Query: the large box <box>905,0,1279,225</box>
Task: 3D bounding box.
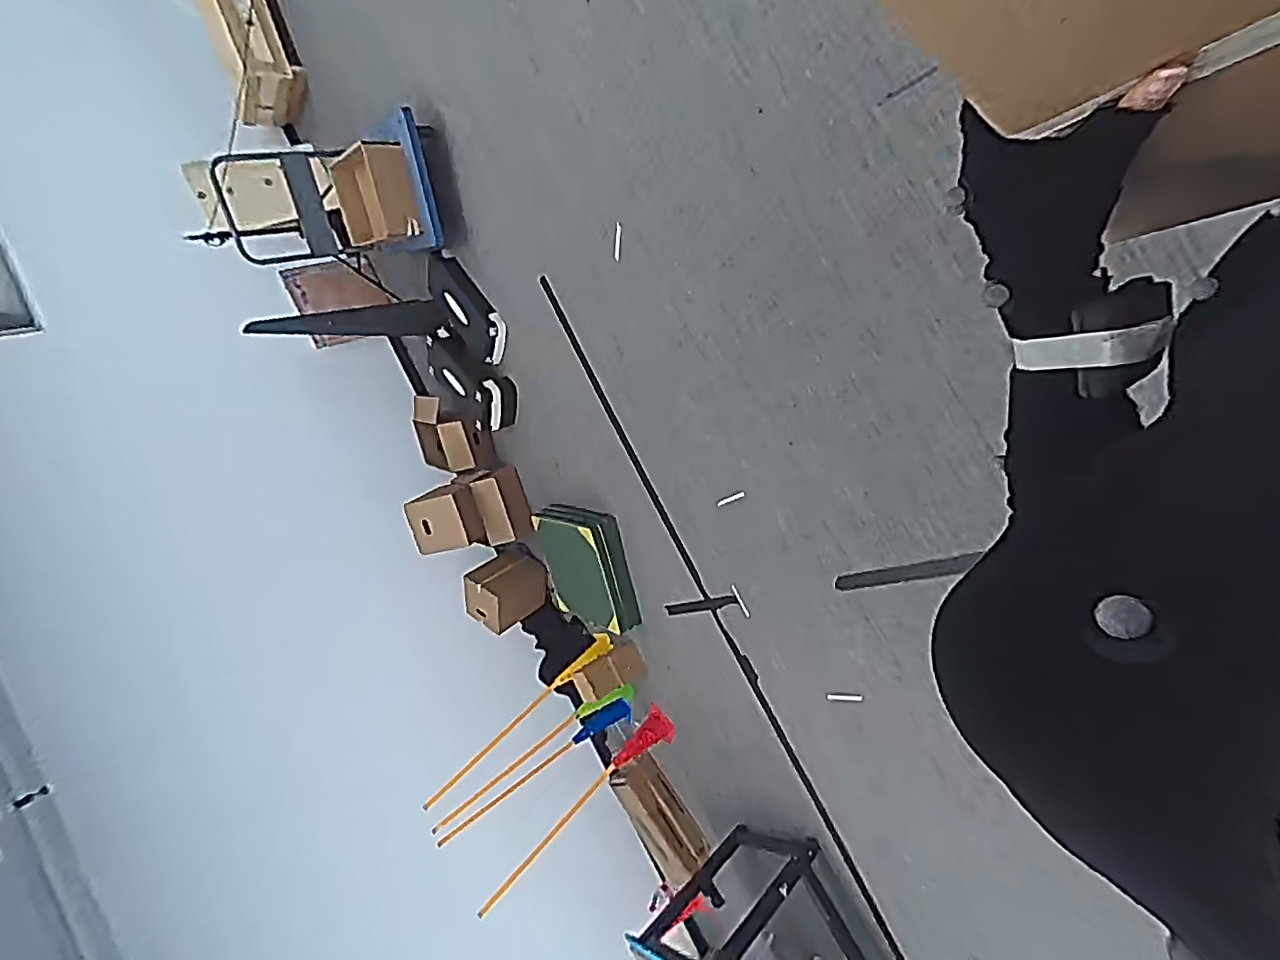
[{"bbox_3d":[0.347,-0.357,0.165,0.408,0.320,0.320,2,83,57],"label":"large box"}]
